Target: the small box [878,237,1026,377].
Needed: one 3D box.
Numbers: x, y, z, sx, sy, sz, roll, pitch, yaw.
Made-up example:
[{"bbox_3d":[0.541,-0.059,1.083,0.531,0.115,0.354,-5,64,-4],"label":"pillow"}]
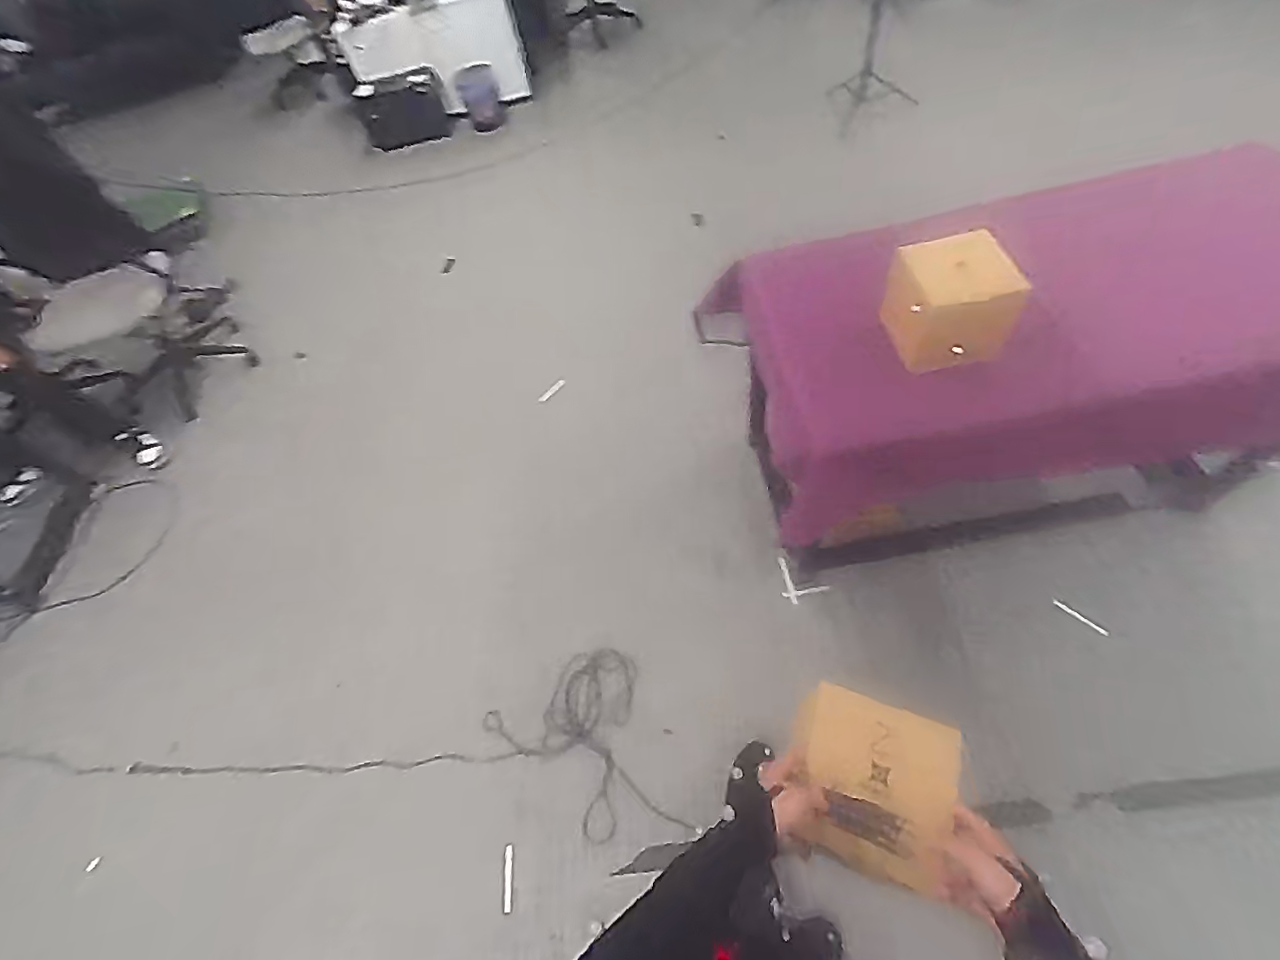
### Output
[{"bbox_3d":[0.580,-0.327,1.038,0.168,0.176,0.179,-12,57,4],"label":"small box"}]
